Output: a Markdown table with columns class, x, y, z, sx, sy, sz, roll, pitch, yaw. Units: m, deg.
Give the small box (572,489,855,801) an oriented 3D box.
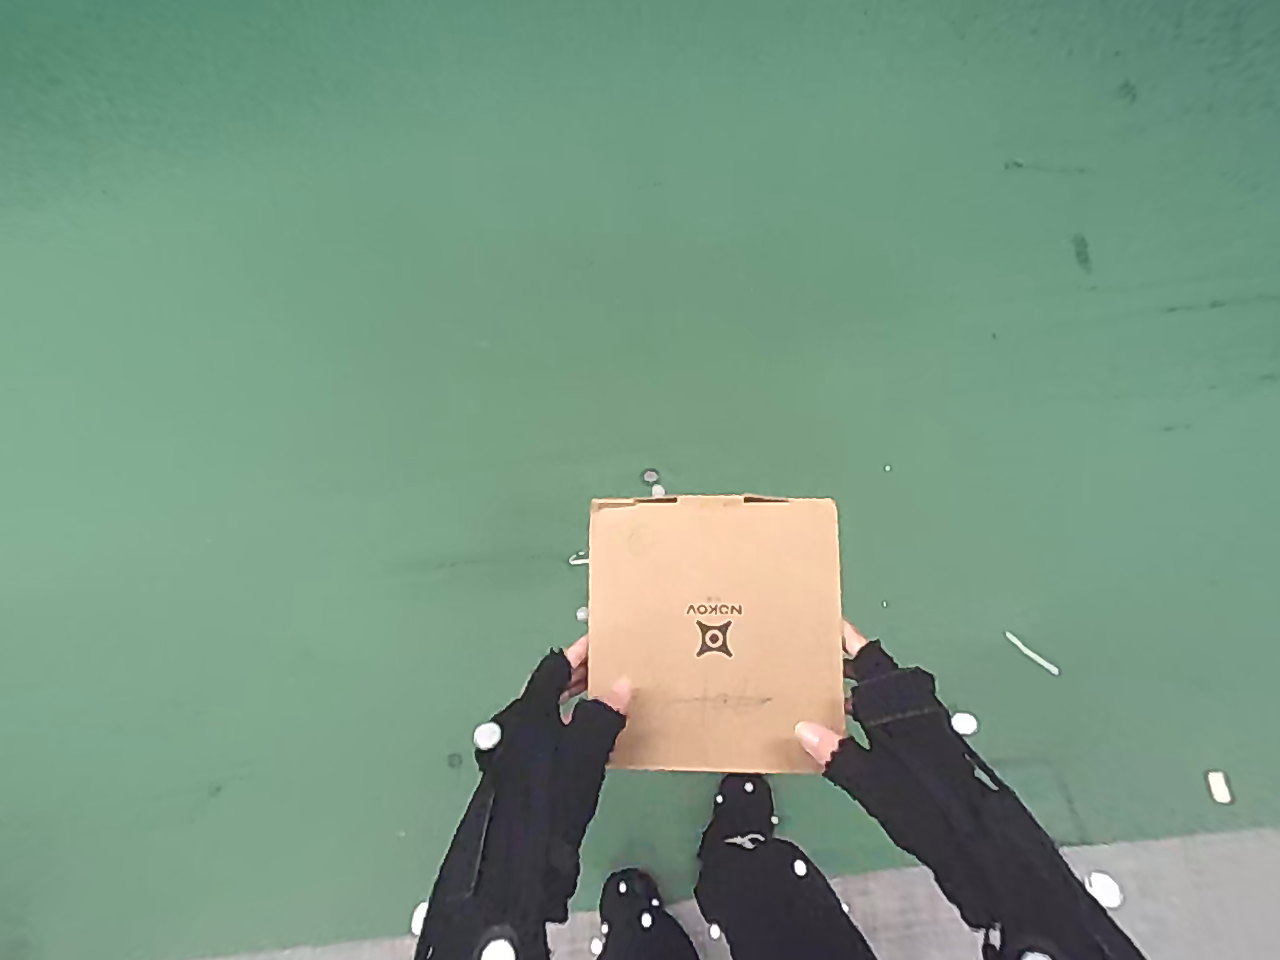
| class | x | y | z | sx | sy | sz | roll | pitch | yaw |
| --- | --- | --- | --- | --- | --- | --- | --- | --- | --- |
| small box | 0.049 | 0.104 | 0.400 | 0.168 | 0.176 | 0.179 | 1 | 84 | 4 |
